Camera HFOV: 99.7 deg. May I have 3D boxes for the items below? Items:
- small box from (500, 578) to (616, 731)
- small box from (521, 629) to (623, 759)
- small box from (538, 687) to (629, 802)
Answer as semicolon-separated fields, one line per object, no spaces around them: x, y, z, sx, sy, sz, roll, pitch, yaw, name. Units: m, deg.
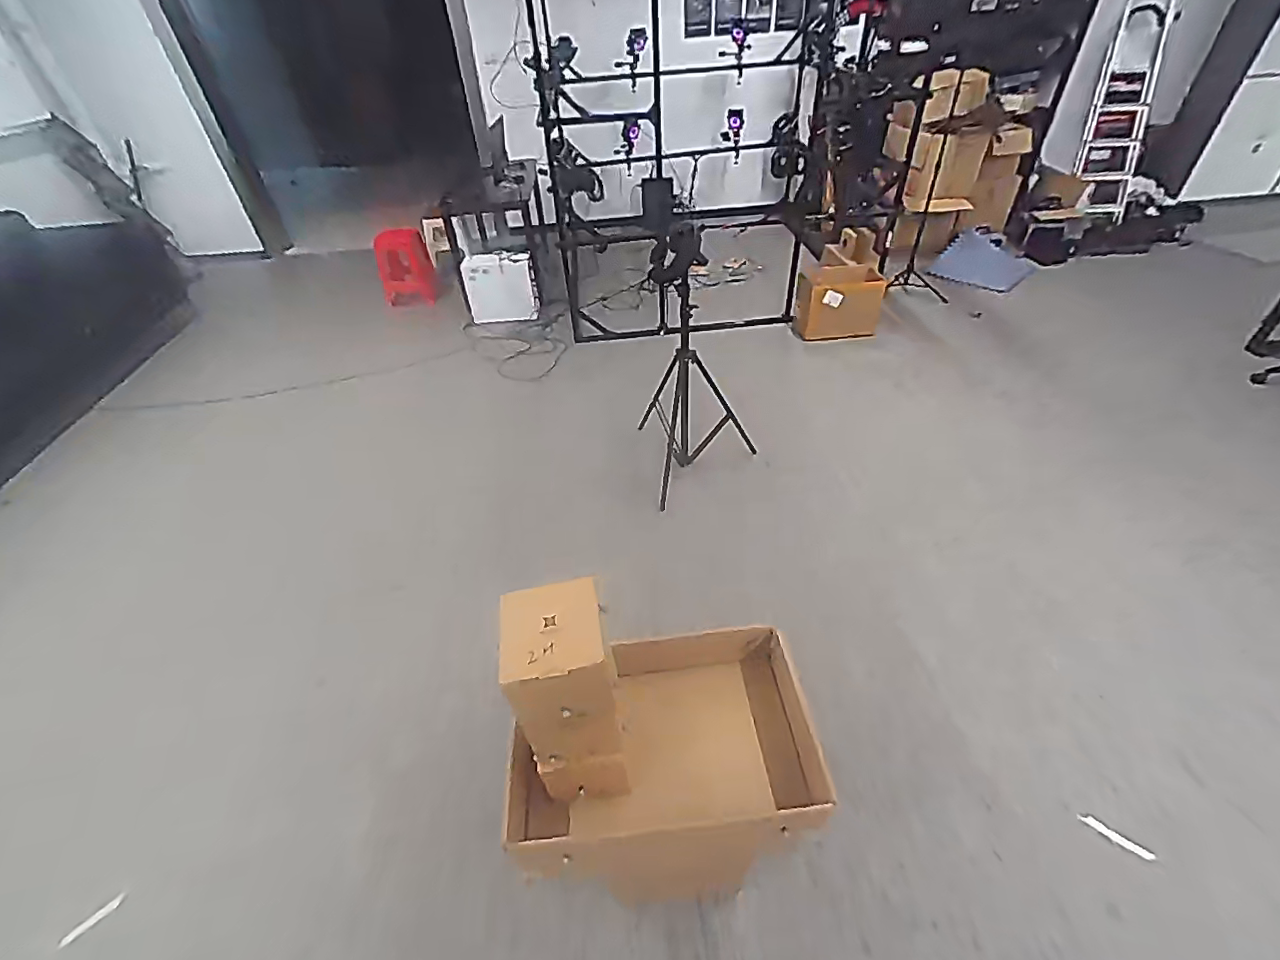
-0.139;0.300;0.935;0.168;0.176;0.179;-10;42;-5;small box
-0.128;0.419;1.049;0.168;0.176;0.179;-7;41;-2;small box
-0.116;0.551;1.147;0.168;0.176;0.179;-8;42;-2;small box
